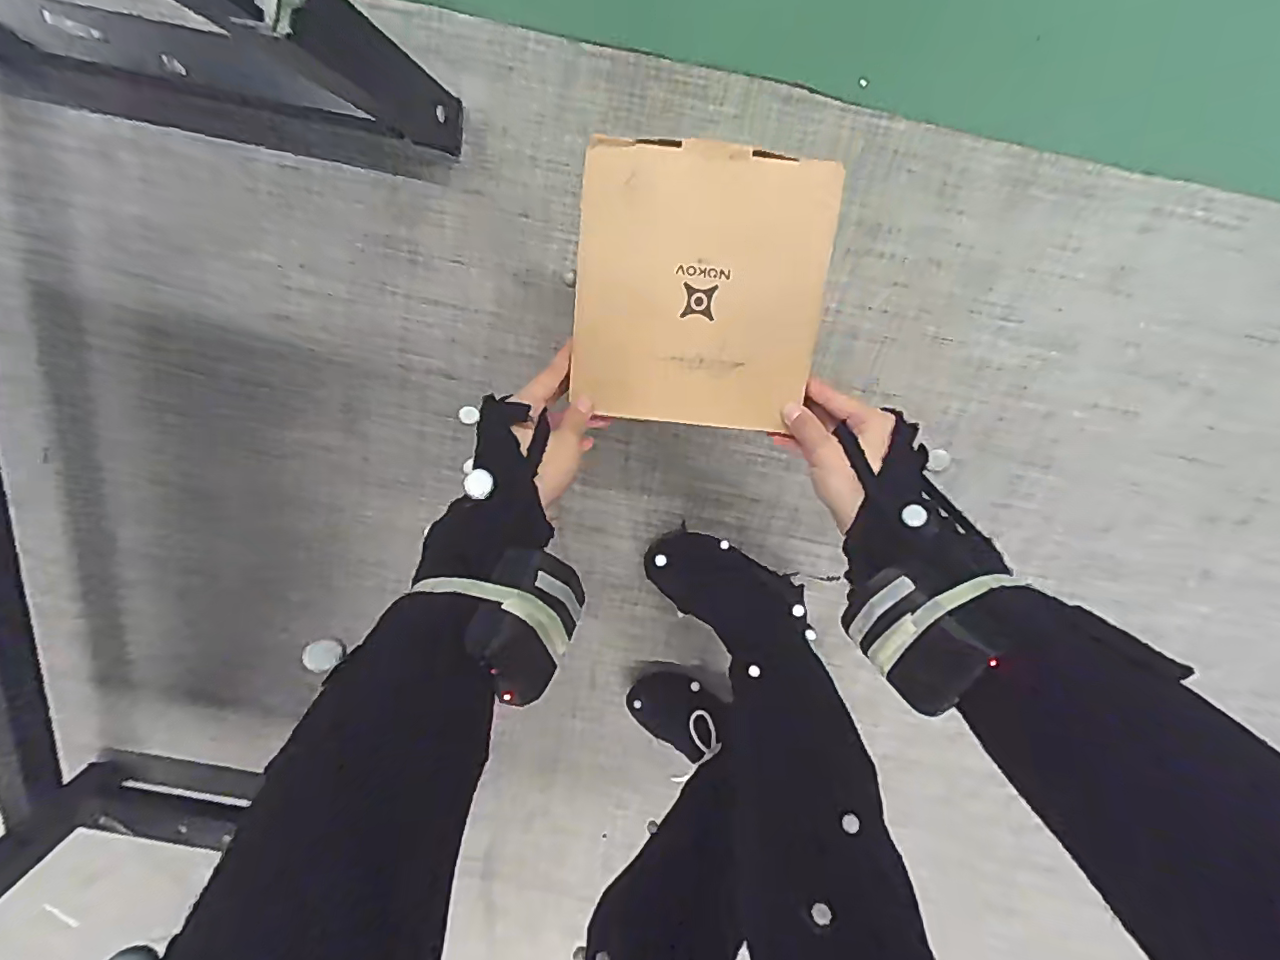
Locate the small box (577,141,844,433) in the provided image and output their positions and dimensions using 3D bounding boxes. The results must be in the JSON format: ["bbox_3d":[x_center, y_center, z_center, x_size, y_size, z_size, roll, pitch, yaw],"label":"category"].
[{"bbox_3d":[0.043,-0.145,0.440,0.168,0.176,0.179,5,107,-1],"label":"small box"}]
